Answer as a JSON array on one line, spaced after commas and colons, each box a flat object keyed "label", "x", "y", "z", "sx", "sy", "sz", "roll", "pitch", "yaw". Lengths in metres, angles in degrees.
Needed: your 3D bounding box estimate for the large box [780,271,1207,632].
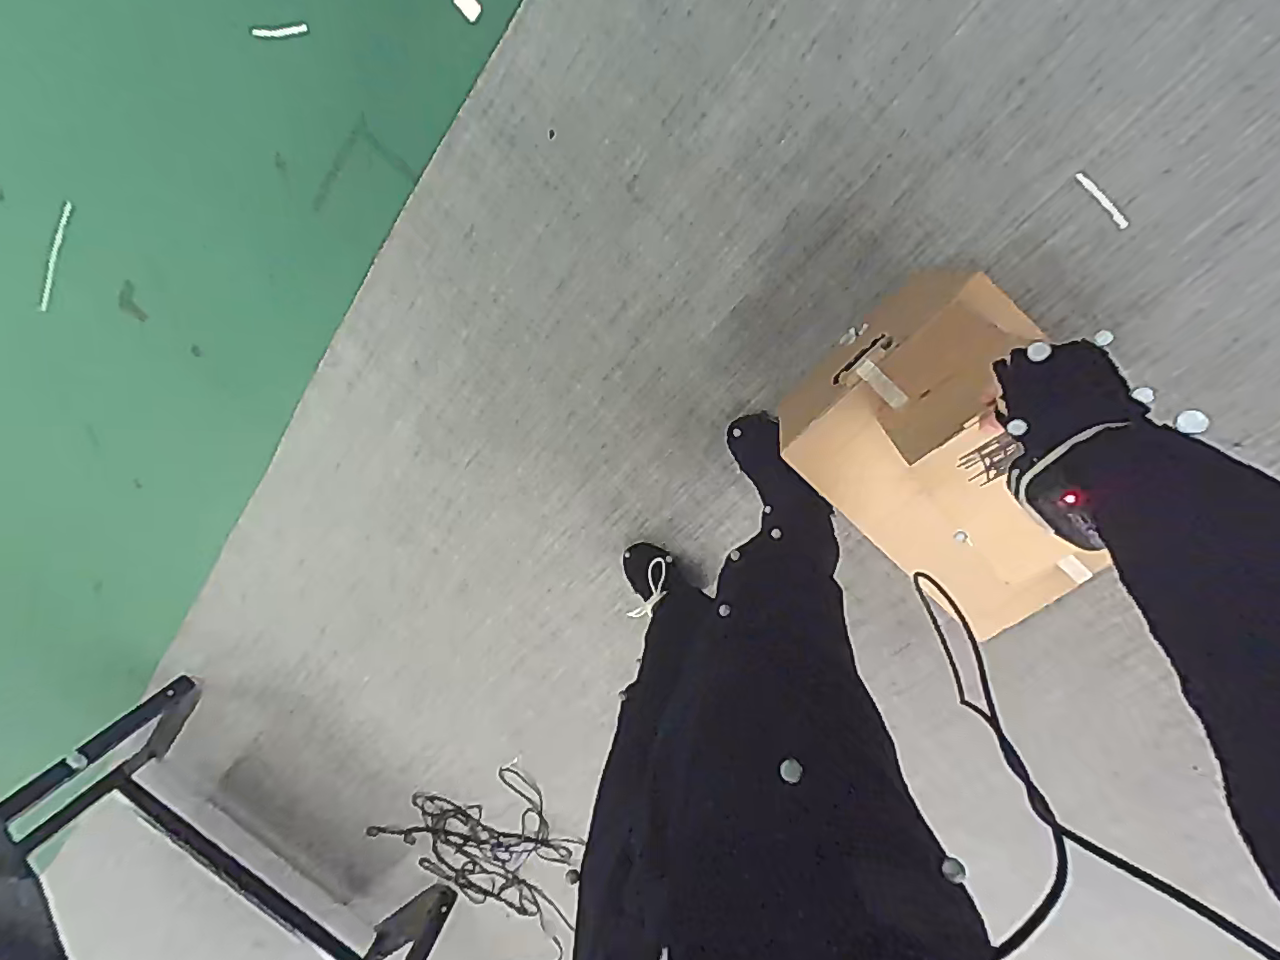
[{"label": "large box", "x": 0.469, "y": -0.063, "z": 0.827, "sx": 0.408, "sy": 0.320, "sz": 0.320, "roll": 41, "pitch": 116, "yaw": -6}]
